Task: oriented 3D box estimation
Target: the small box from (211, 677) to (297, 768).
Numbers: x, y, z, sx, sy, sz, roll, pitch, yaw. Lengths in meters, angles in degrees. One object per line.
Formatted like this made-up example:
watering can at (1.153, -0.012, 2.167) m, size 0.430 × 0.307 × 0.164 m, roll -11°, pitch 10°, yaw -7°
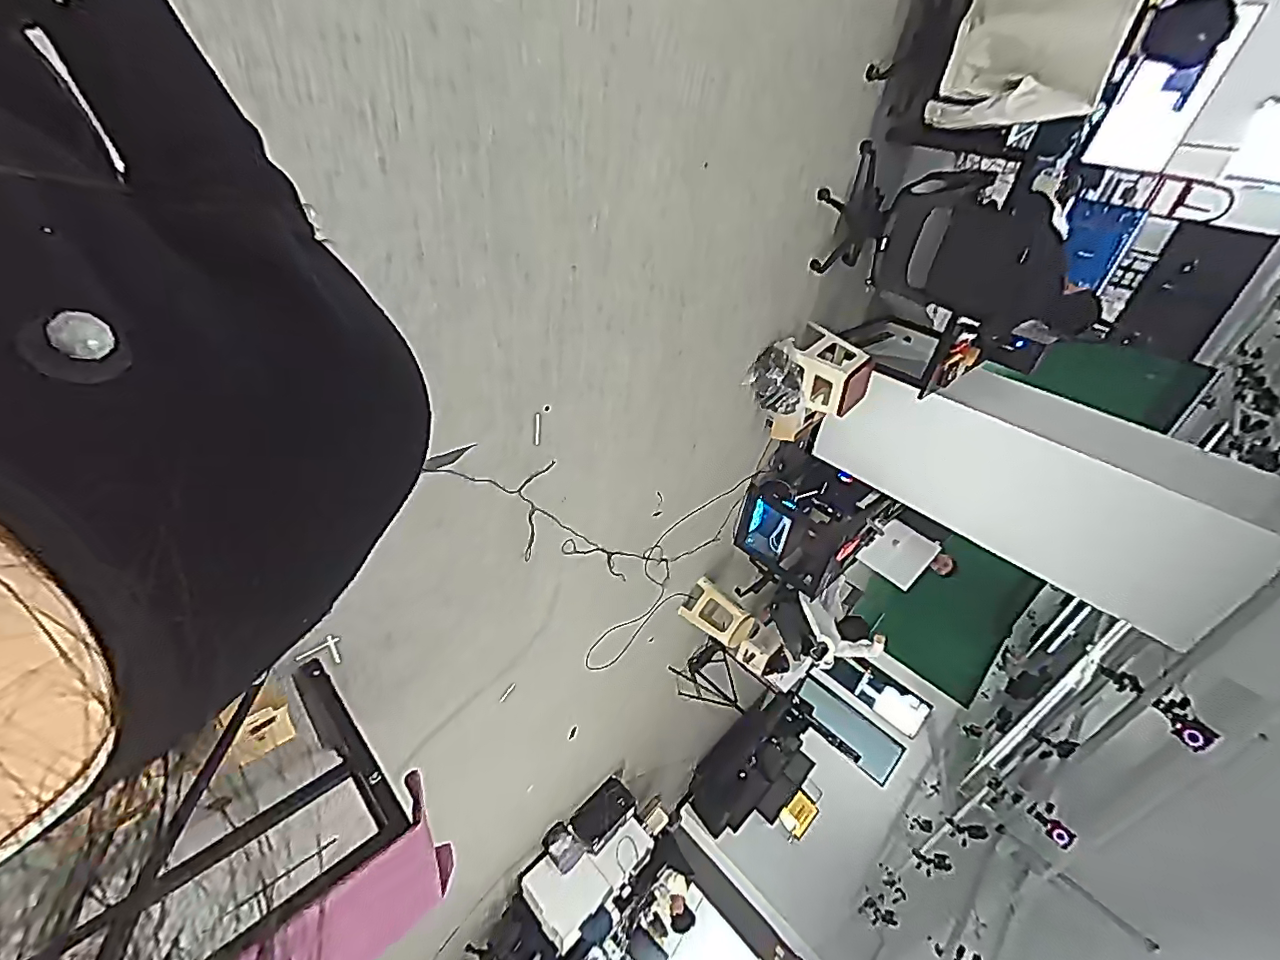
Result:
small box at (-1.229, 0.760, 1.722) m, size 0.168 × 0.176 × 0.179 m, roll -25°, pitch 138°, yaw -40°
